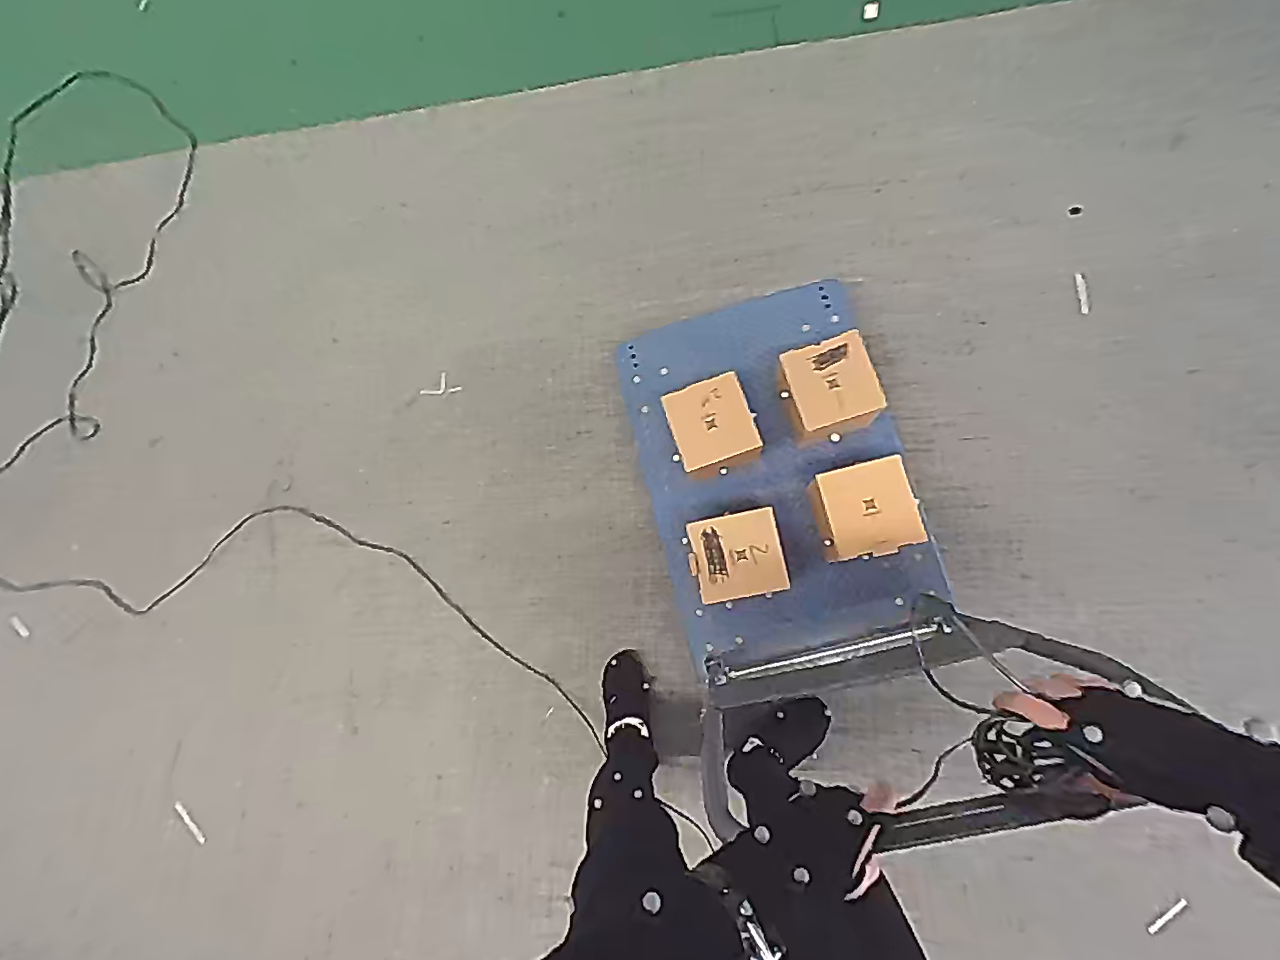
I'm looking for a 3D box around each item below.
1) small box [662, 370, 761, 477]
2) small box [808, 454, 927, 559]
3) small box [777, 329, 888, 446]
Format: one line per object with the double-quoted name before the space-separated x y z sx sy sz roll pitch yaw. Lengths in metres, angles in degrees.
"small box" 0.160 -0.113 1.197 0.168 0.176 0.179 -19 79 5
"small box" 0.458 0.062 1.120 0.168 0.176 0.179 -14 80 7
"small box" 0.403 -0.192 1.167 0.168 0.176 0.179 -17 79 7
